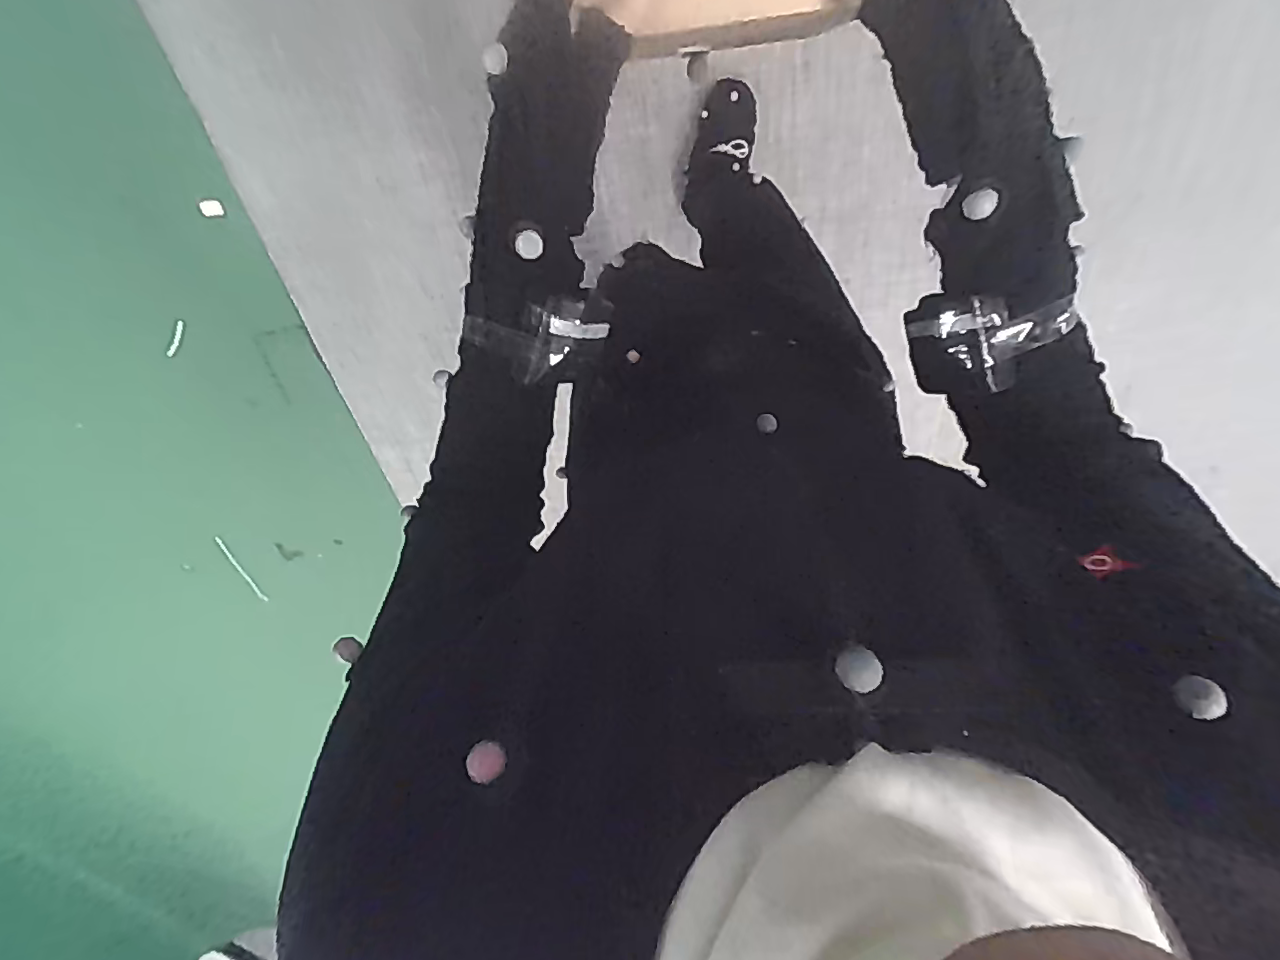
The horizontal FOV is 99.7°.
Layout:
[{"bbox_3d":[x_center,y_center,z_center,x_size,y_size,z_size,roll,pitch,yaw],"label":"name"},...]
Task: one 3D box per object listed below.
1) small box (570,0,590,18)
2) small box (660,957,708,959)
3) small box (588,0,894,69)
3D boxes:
[{"bbox_3d":[-0.030,-0.874,0.878,0.179,0.176,0.168,-3,125,4],"label":"small box"},{"bbox_3d":[0.157,1.717,1.800,0.179,0.176,0.168,-8,125,8],"label":"small box"},{"bbox_3d":[0.045,-0.353,0.299,0.168,0.176,0.179,-6,124,4],"label":"small box"}]
